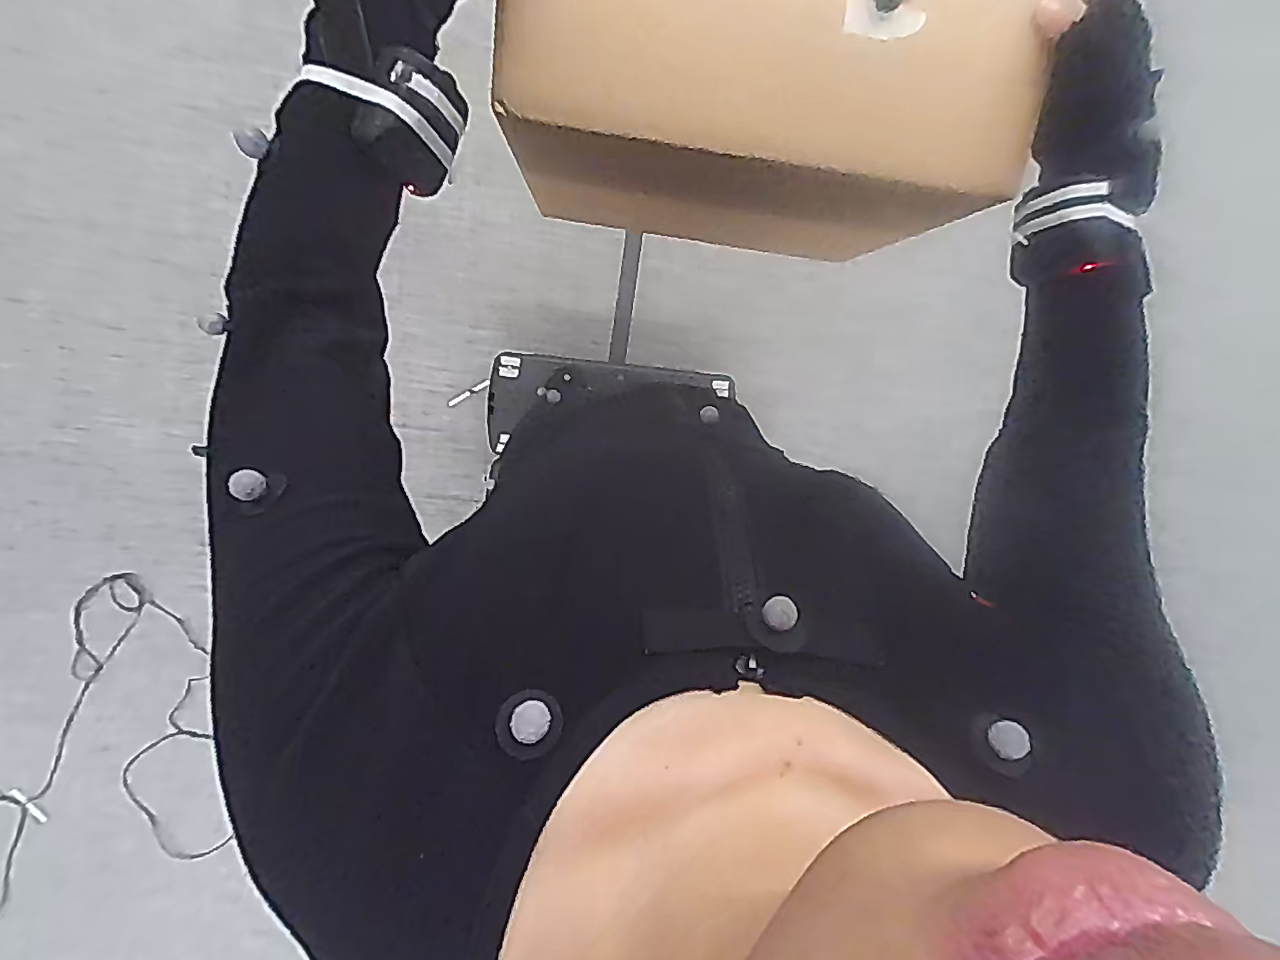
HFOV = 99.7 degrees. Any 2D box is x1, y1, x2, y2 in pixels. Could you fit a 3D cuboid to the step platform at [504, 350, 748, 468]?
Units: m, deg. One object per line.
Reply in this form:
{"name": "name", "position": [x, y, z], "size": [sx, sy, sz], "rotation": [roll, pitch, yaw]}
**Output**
{"name": "step platform", "position": [-0.040, -0.200, 1.546], "size": [0.684, 0.204, 0.286], "rotation": [4, 99, -7]}

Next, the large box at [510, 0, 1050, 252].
{"name": "large box", "position": [0.101, -0.433, 0.527], "size": [0.408, 0.320, 0.320], "rotation": [6, 104, -6]}
